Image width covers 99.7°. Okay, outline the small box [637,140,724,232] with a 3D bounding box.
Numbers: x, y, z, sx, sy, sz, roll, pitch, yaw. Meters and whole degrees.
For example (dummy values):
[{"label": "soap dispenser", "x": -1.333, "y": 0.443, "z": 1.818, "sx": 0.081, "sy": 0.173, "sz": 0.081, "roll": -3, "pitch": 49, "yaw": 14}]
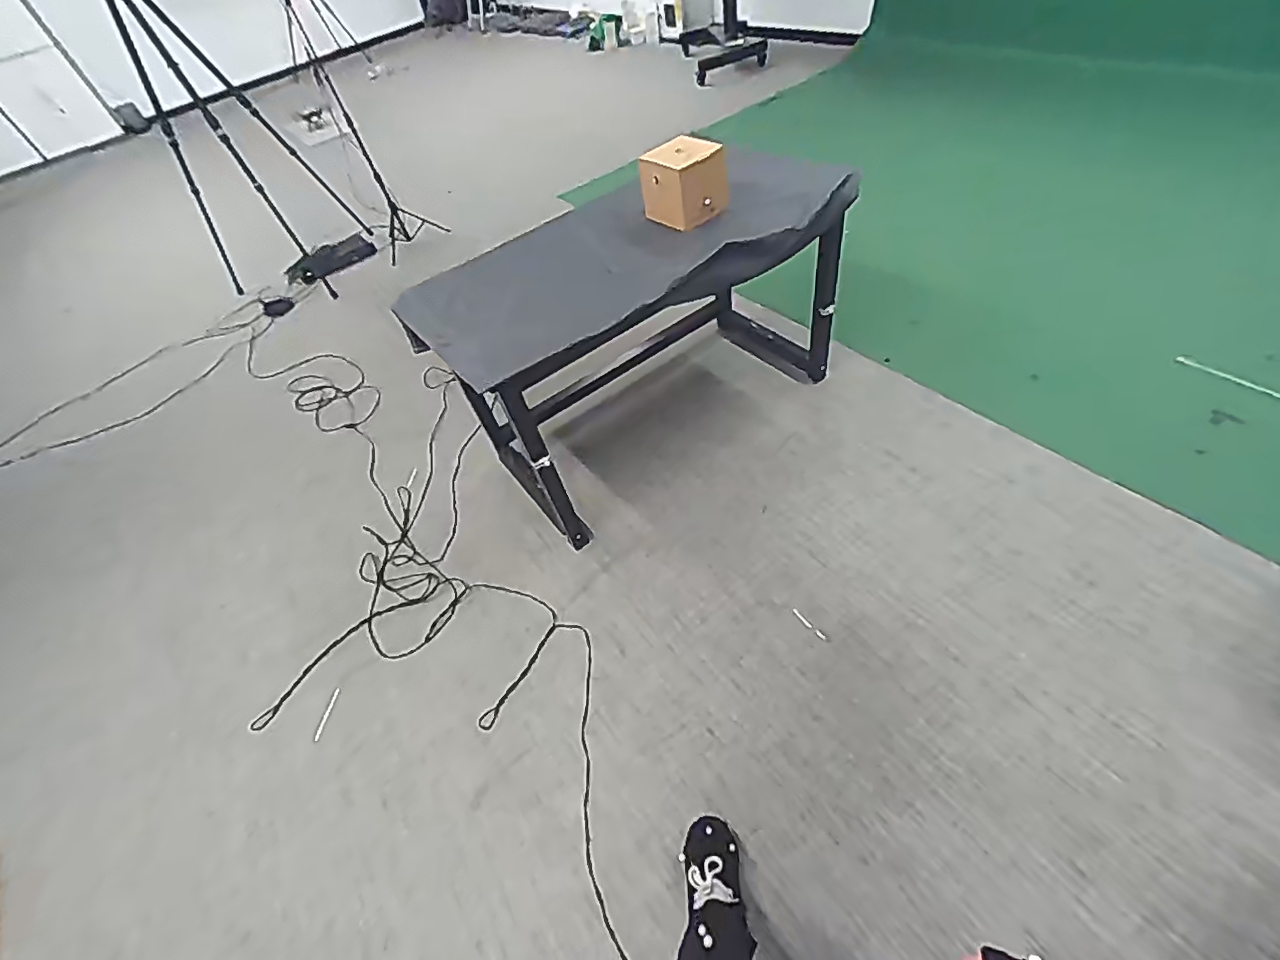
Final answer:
[{"label": "small box", "x": 0.117, "y": -0.827, "z": 1.525, "sx": 0.168, "sy": 0.176, "sz": 0.179, "roll": -37, "pitch": 53, "yaw": -18}]
